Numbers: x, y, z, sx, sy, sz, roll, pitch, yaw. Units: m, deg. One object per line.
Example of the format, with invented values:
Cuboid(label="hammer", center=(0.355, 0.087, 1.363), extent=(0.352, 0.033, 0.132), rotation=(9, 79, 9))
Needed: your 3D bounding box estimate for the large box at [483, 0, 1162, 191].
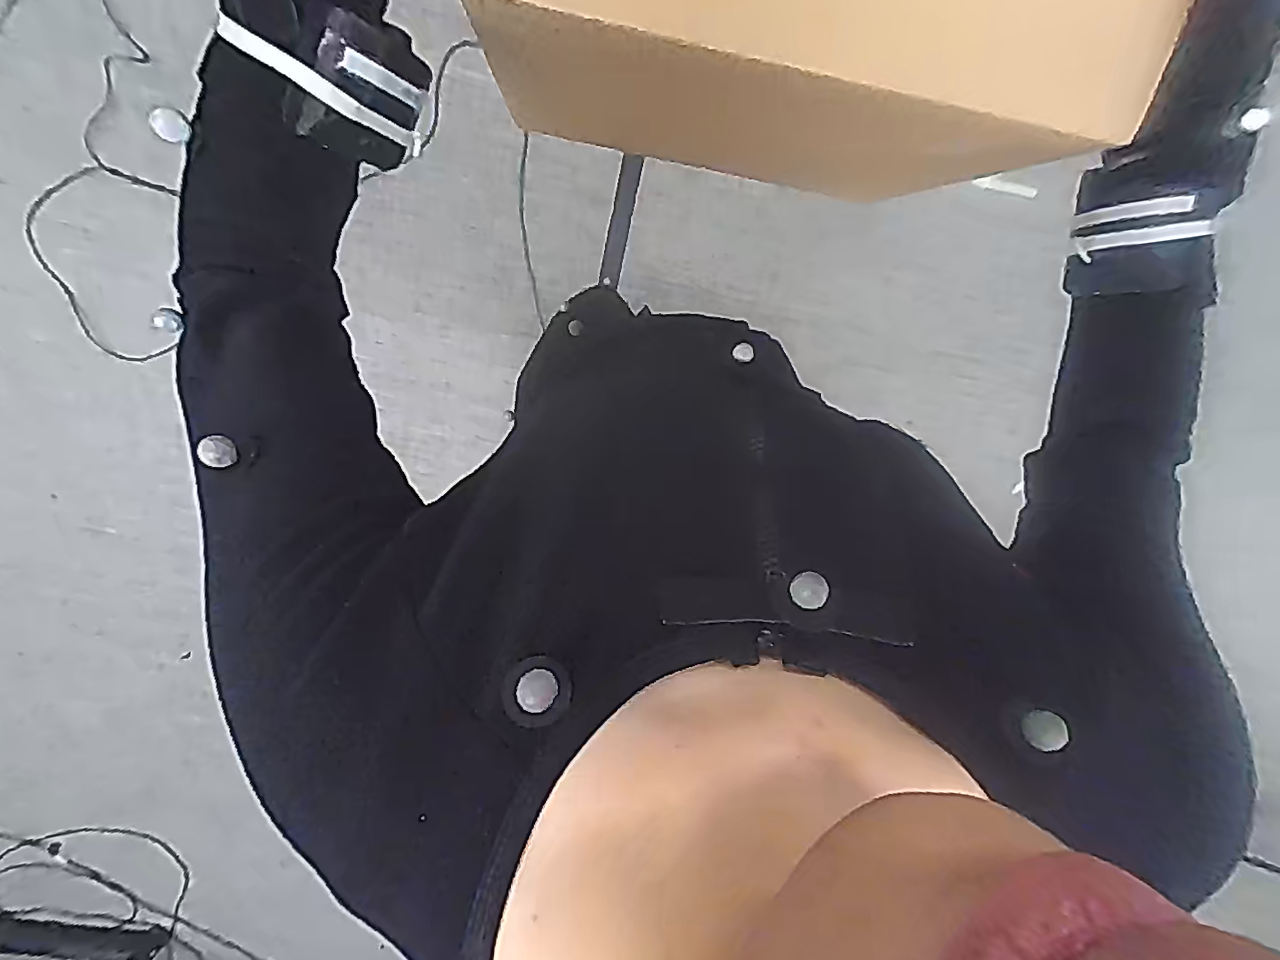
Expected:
Cuboid(label="large box", center=(0.107, -0.434, 0.400), extent=(0.408, 0.320, 0.320), rotation=(5, 111, -10))
